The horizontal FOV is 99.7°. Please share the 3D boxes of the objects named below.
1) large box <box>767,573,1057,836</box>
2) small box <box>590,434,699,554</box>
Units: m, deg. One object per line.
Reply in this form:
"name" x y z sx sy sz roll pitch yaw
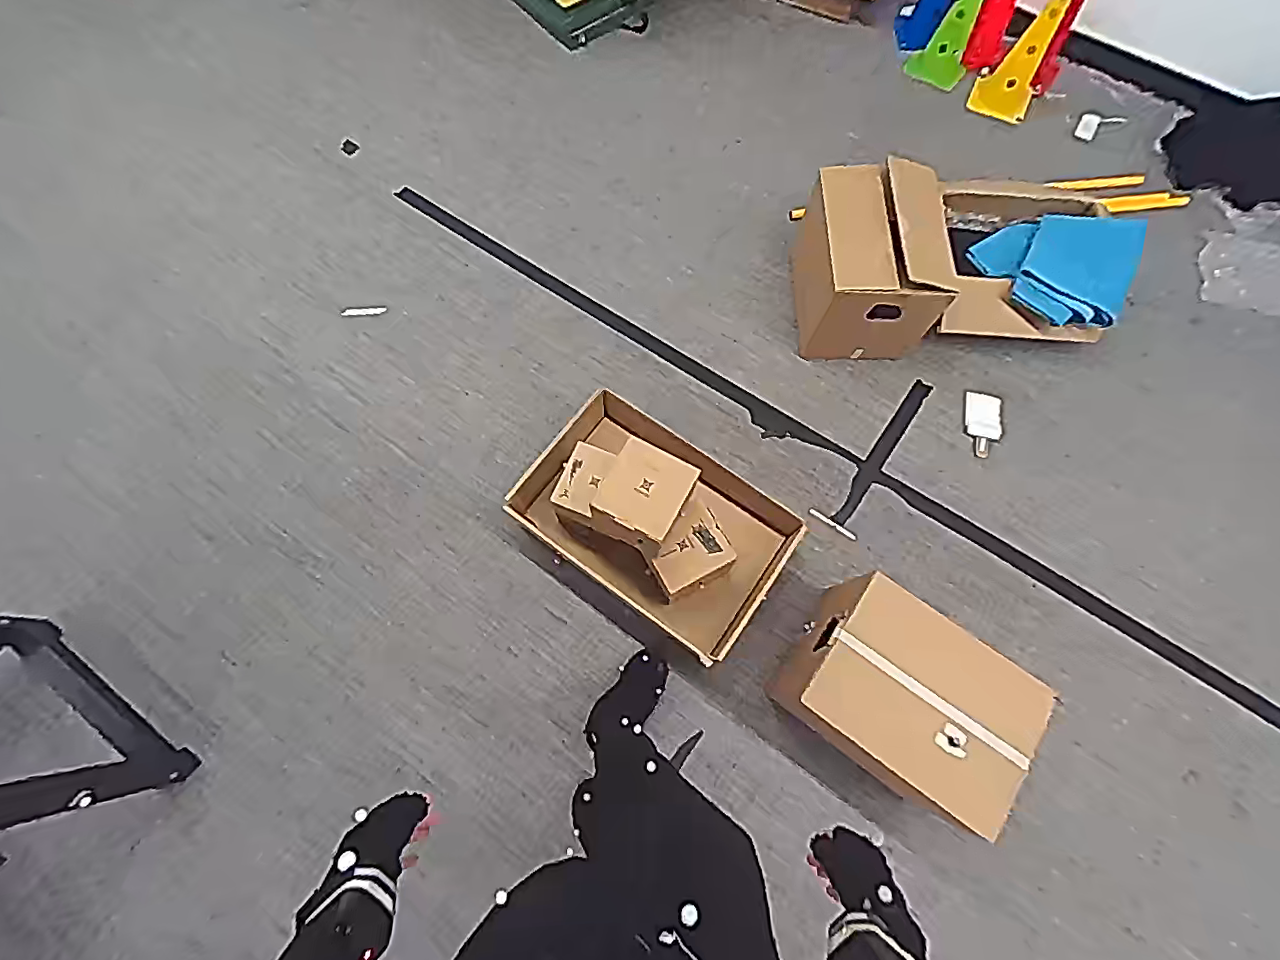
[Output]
"large box" 0.551 0.457 1.171 0.408 0.320 0.320 35 75 10
"small box" 0.010 0.038 1.159 0.168 0.176 0.179 27 72 8
